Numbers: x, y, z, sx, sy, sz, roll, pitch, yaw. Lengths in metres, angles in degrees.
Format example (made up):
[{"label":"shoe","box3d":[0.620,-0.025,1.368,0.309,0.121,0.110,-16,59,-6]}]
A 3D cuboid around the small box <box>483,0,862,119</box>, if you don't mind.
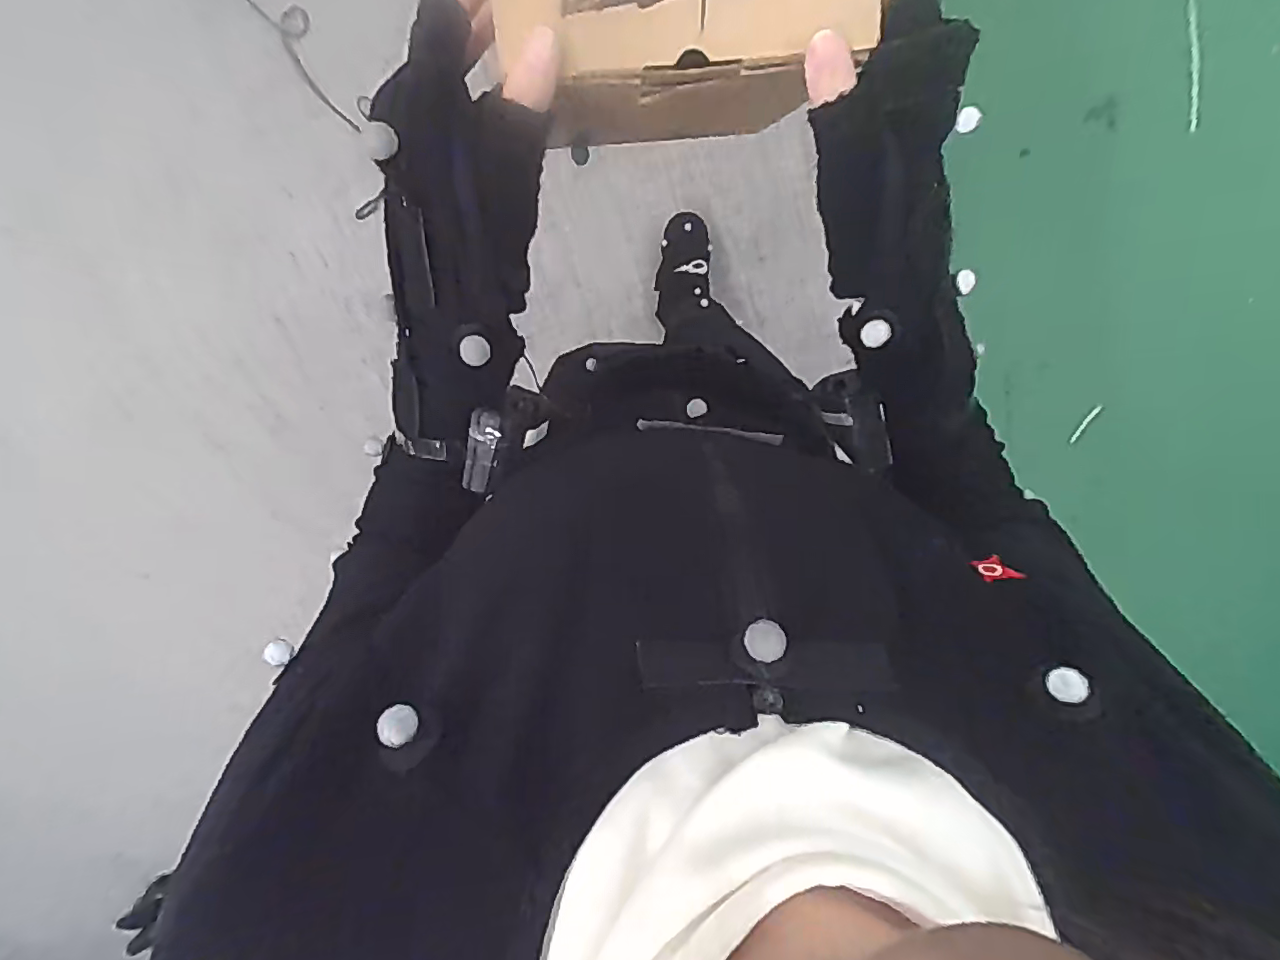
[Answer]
[{"label":"small box","box3d":[0.004,-0.302,0.273,0.168,0.176,0.179,-6,111,-3]}]
